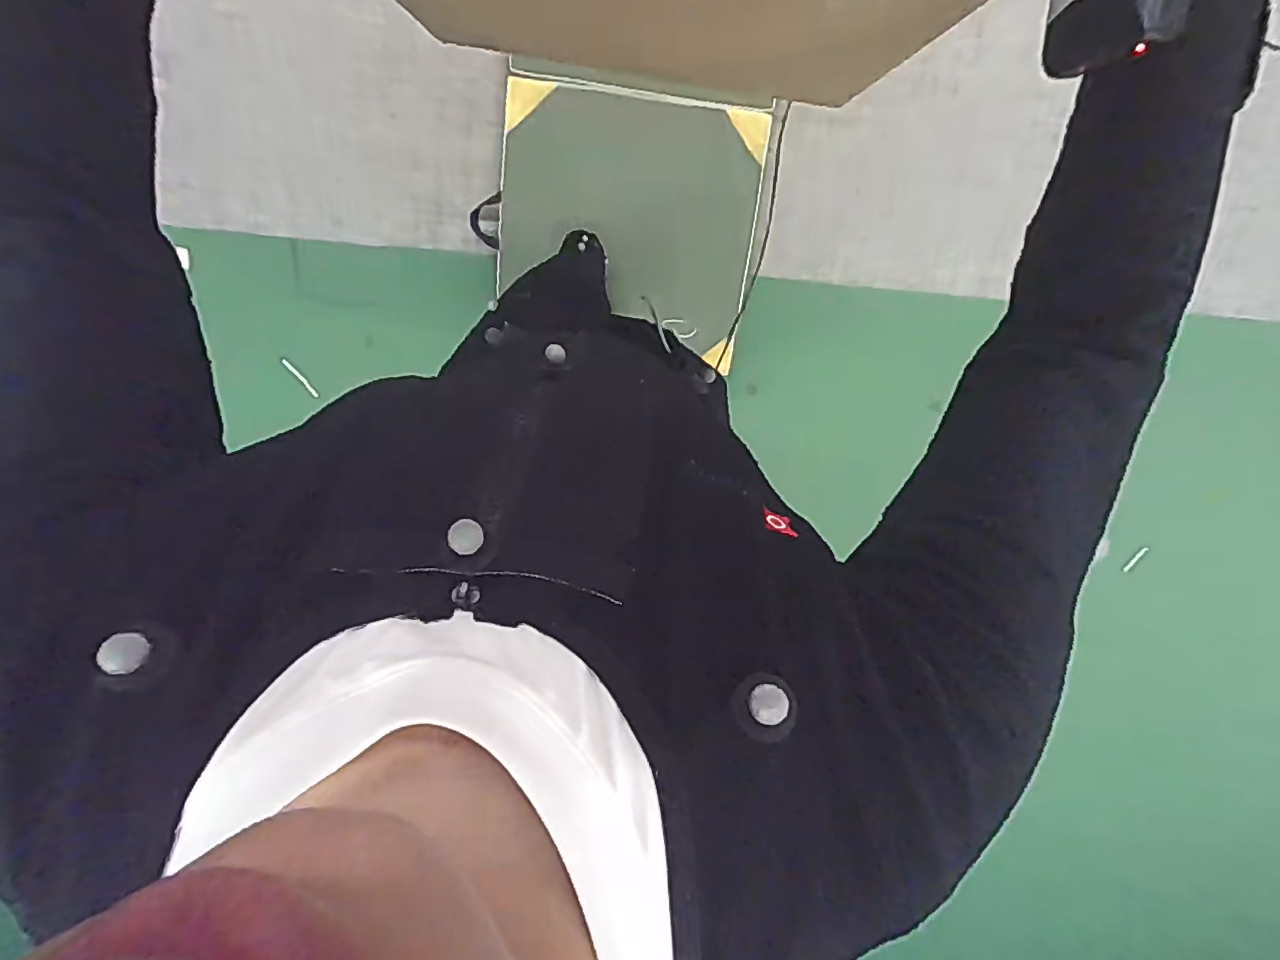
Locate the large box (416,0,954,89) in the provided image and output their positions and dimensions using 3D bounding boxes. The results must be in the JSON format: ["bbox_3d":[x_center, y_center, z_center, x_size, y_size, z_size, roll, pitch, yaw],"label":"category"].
[{"bbox_3d":[0.023,-0.485,0.332,0.408,0.320,0.320,7,115,-3],"label":"large box"}]
